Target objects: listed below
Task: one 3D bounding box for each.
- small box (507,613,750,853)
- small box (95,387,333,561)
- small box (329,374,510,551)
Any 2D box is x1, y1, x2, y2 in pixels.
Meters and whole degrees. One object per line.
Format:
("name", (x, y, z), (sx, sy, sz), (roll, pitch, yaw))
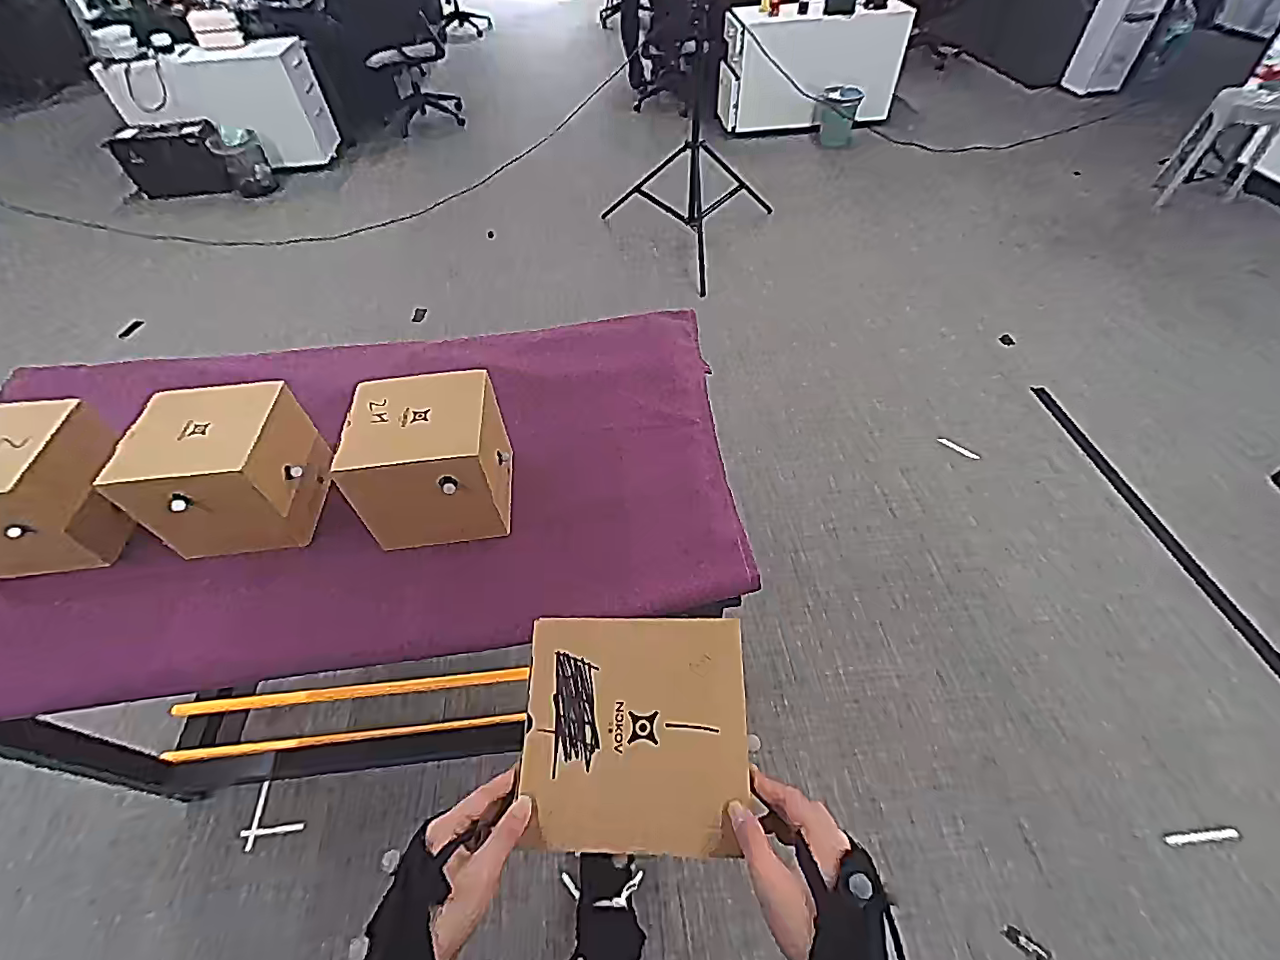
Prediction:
("small box", (0.002, 0.222, 0.484), (0.179, 0.176, 0.168), (-2, 62, 6))
("small box", (-0.559, -0.005, 0.748), (0.179, 0.176, 0.168), (-6, 50, -2))
("small box", (-0.281, -0.021, 0.742), (0.179, 0.176, 0.168), (-7, 49, -3))
